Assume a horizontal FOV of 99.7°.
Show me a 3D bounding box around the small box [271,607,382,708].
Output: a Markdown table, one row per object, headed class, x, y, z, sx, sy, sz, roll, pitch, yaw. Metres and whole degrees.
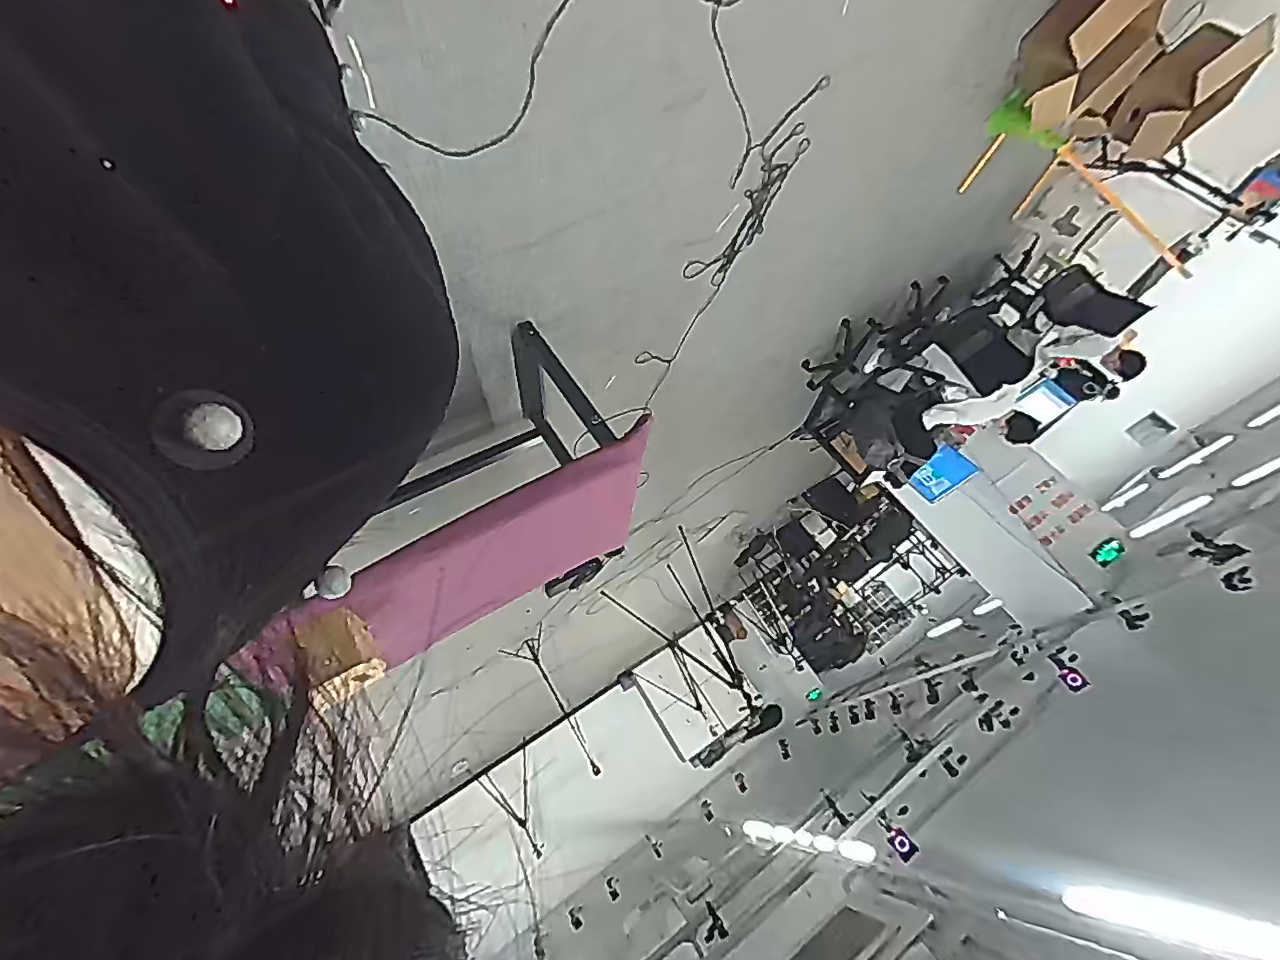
| class | x | y | z | sx | sy | sz | roll | pitch | yaw |
| --- | --- | --- | --- | --- | --- | --- | --- | --- | --- |
| small box | -0.806 | 0.456 | 1.396 | 0.179 | 0.176 | 0.168 | -28 | 155 | -19 |
